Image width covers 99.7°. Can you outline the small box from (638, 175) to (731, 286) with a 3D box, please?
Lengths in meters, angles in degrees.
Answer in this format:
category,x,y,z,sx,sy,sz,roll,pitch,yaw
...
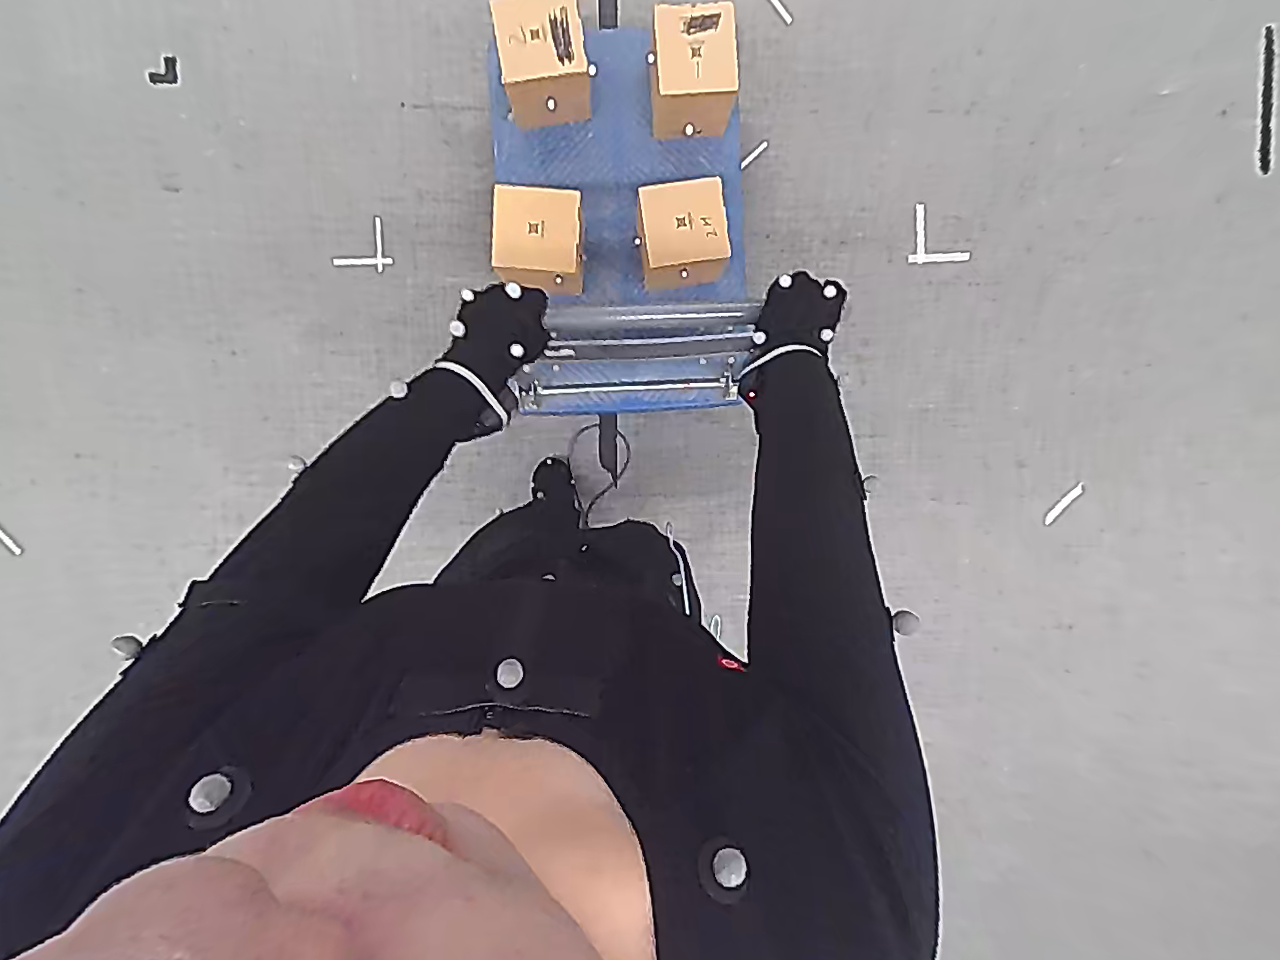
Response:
category,x,y,z,sx,sy,sz,roll,pitch,yaw
small box,0.092,-0.544,1.202,0.179,0.176,0.168,-9,94,-2

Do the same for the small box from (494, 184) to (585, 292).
category,x,y,z,sx,sy,sz,roll,pitch,yaw
small box,-0.215,-0.523,1.189,0.179,0.176,0.168,2,93,-4

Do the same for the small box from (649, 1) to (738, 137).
category,x,y,z,sx,sy,sz,roll,pitch,yaw
small box,0.111,-0.888,1.180,0.168,0.176,0.179,-5,95,-2
